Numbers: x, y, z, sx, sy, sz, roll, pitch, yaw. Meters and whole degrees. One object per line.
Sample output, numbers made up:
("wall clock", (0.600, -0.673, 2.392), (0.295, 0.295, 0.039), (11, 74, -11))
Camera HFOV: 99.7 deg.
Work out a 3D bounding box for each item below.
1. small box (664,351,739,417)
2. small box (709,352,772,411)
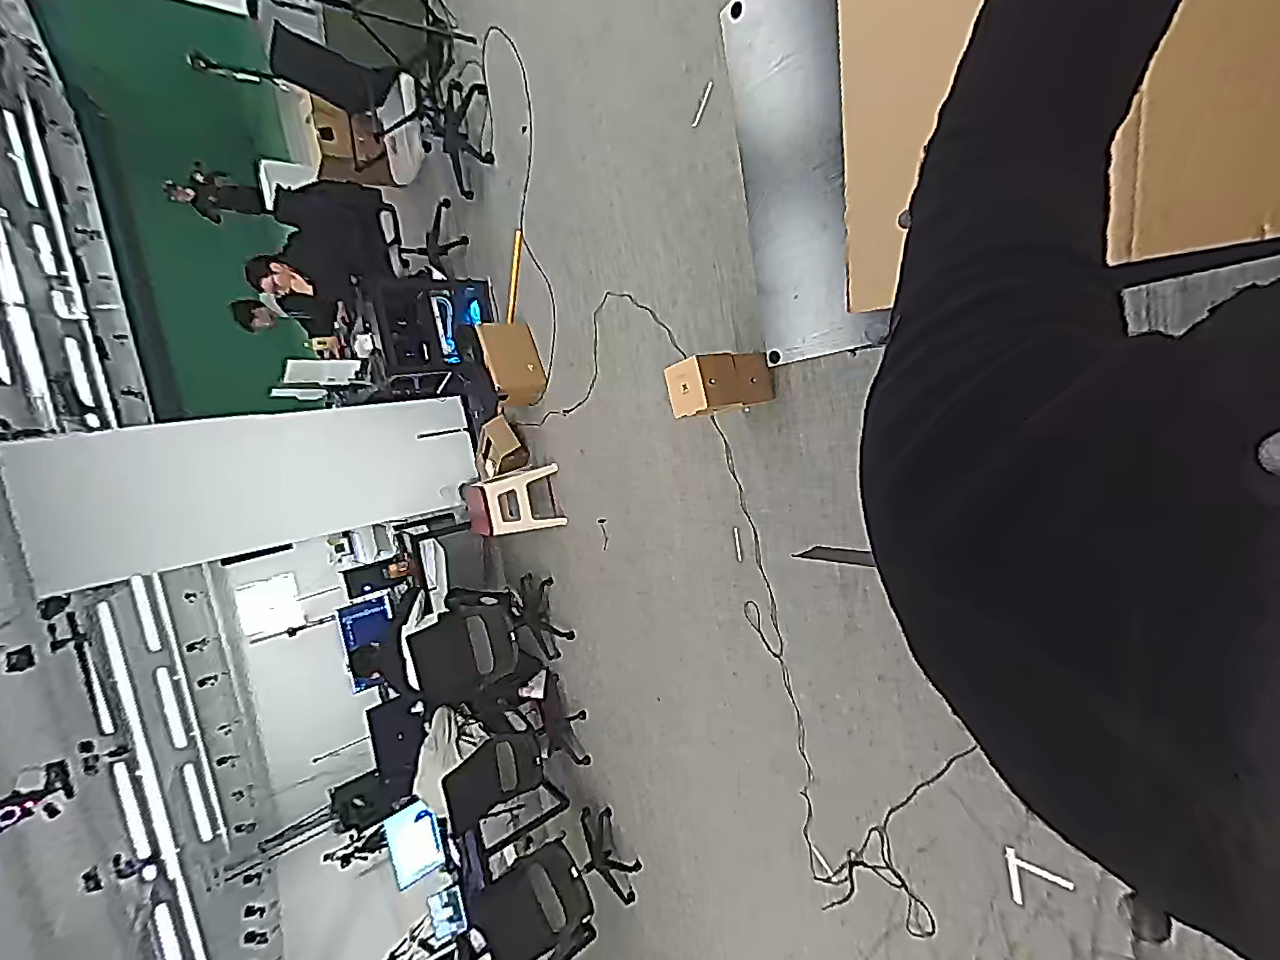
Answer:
("small box", (0.209, -0.321, 1.804), (0.168, 0.176, 0.179), (-13, 90, 53))
("small box", (0.339, -0.347, 1.898), (0.168, 0.176, 0.179), (-7, 96, 54))
